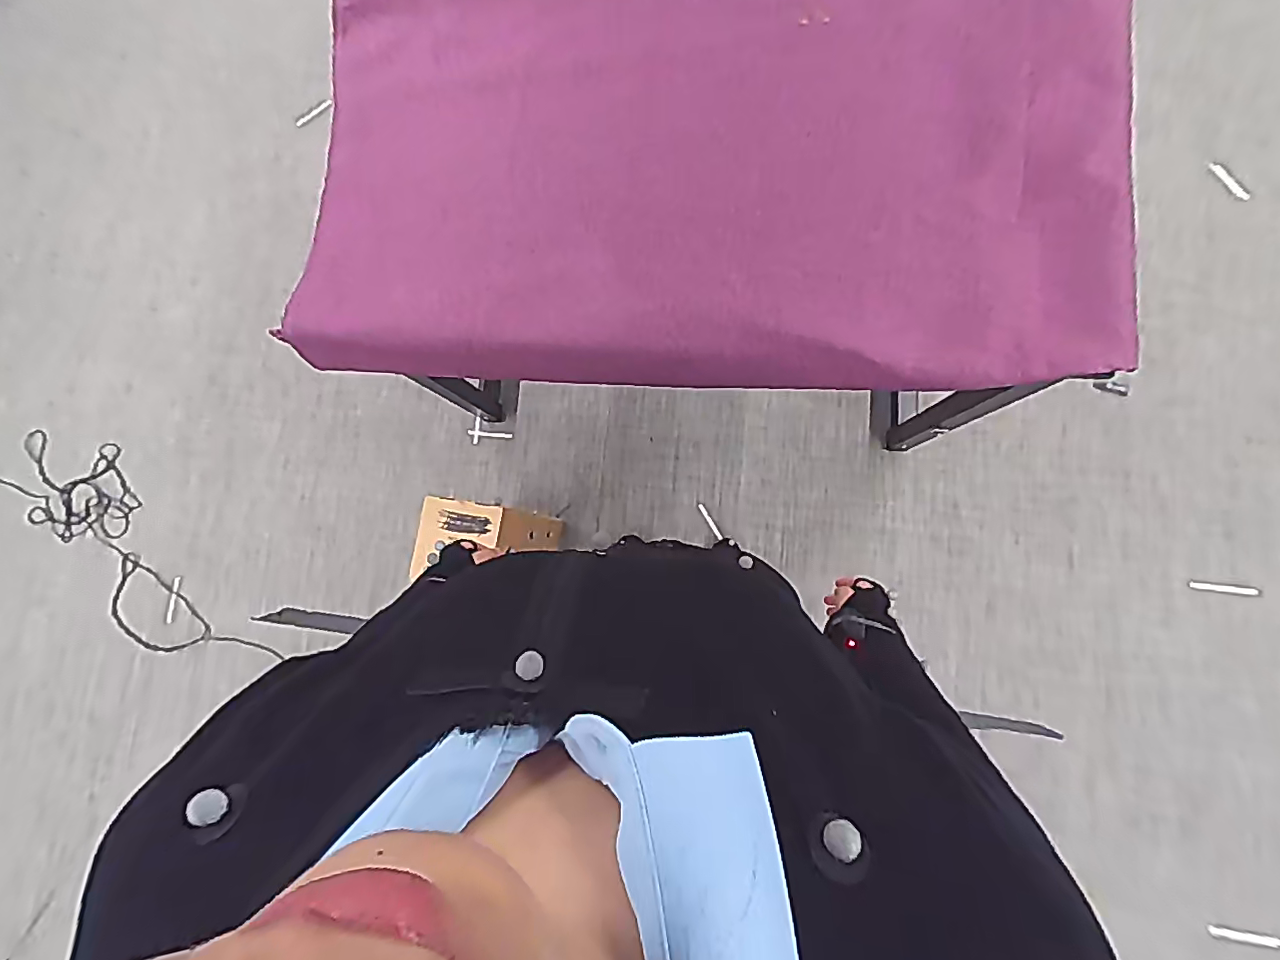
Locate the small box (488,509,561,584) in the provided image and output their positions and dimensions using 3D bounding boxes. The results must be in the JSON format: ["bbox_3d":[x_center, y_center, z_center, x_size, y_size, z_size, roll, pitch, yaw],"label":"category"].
[{"bbox_3d":[-0.324,0.182,1.459,0.168,0.176,0.179,12,84,7],"label":"small box"}]

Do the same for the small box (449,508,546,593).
[{"bbox_3d":[-0.332,0.167,1.295,0.168,0.176,0.179,6,84,6],"label":"small box"}]
